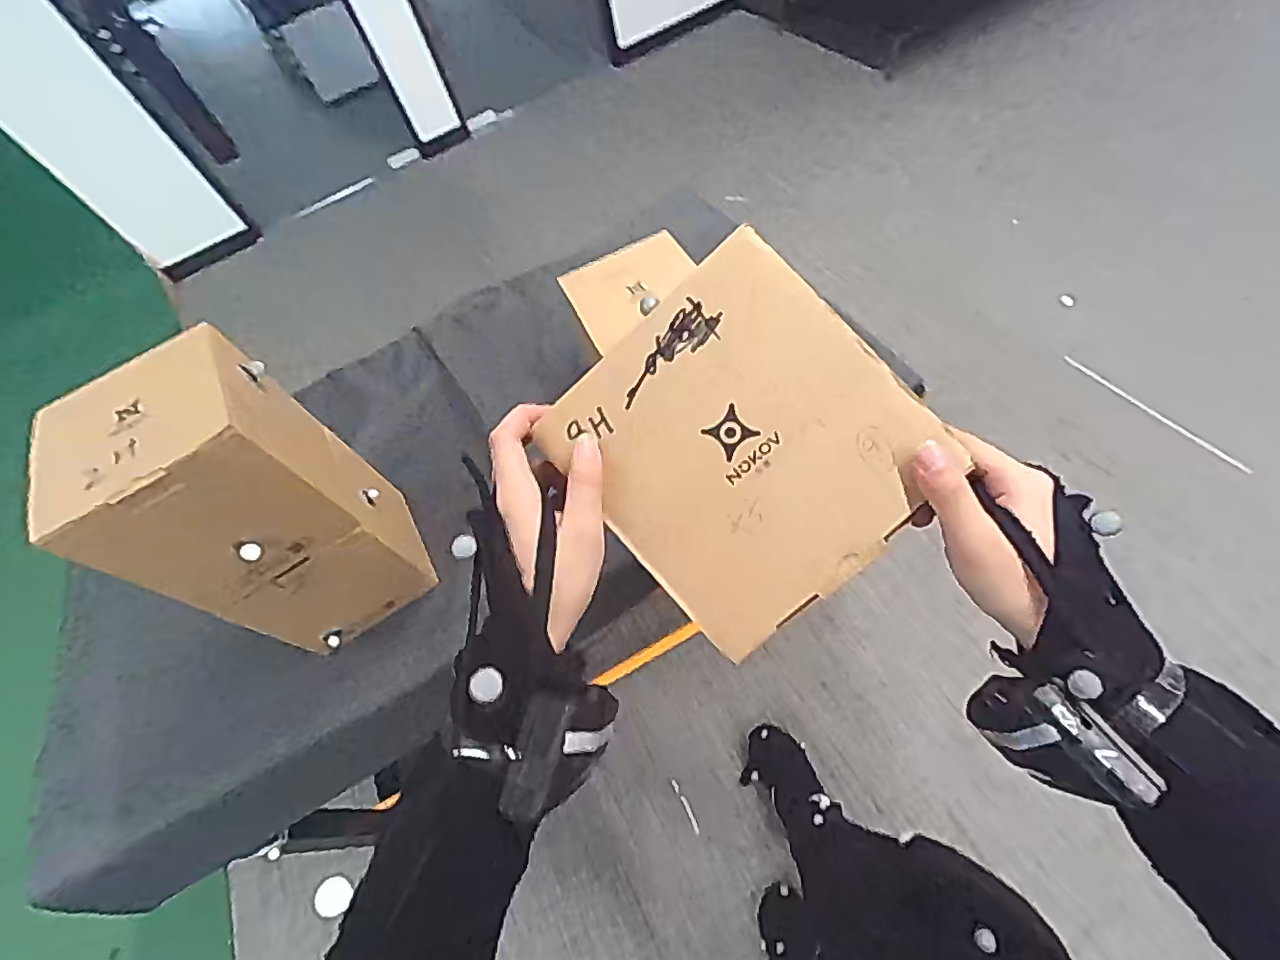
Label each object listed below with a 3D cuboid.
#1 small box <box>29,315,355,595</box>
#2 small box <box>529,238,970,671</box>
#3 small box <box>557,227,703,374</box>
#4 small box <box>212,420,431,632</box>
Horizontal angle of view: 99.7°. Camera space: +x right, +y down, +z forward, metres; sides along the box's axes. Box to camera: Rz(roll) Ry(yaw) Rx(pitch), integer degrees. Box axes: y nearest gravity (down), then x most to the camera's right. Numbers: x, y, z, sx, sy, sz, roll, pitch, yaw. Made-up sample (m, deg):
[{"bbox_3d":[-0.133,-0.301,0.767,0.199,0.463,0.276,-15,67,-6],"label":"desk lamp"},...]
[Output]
[{"bbox_3d":[-0.420,-0.019,0.530,0.168,0.176,0.179,-35,58,-9],"label":"small box"},{"bbox_3d":[0.064,-0.015,0.365,0.168,0.176,0.179,-42,86,7],"label":"small box"},{"bbox_3d":[0.010,-0.203,0.745,0.168,0.176,0.179,-25,56,-4],"label":"small box"},{"bbox_3d":[-0.389,0.067,0.668,0.168,0.176,0.179,-32,57,-8],"label":"small box"}]
